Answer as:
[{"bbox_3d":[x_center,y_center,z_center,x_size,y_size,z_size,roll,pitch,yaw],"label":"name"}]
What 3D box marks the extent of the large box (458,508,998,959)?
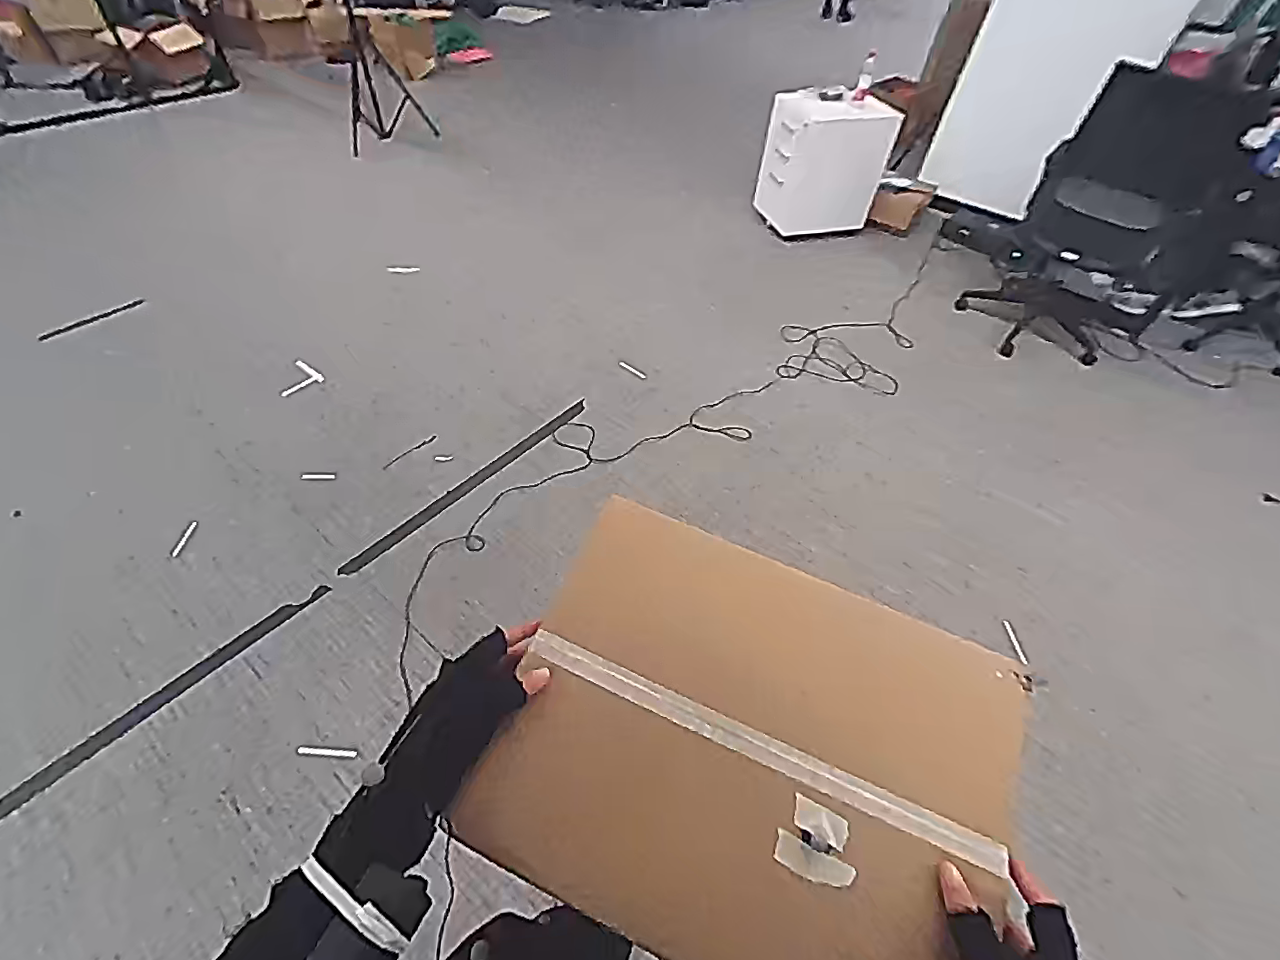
[{"bbox_3d":[0.086,0.287,0.599,0.408,0.320,0.320,22,66,9],"label":"large box"}]
